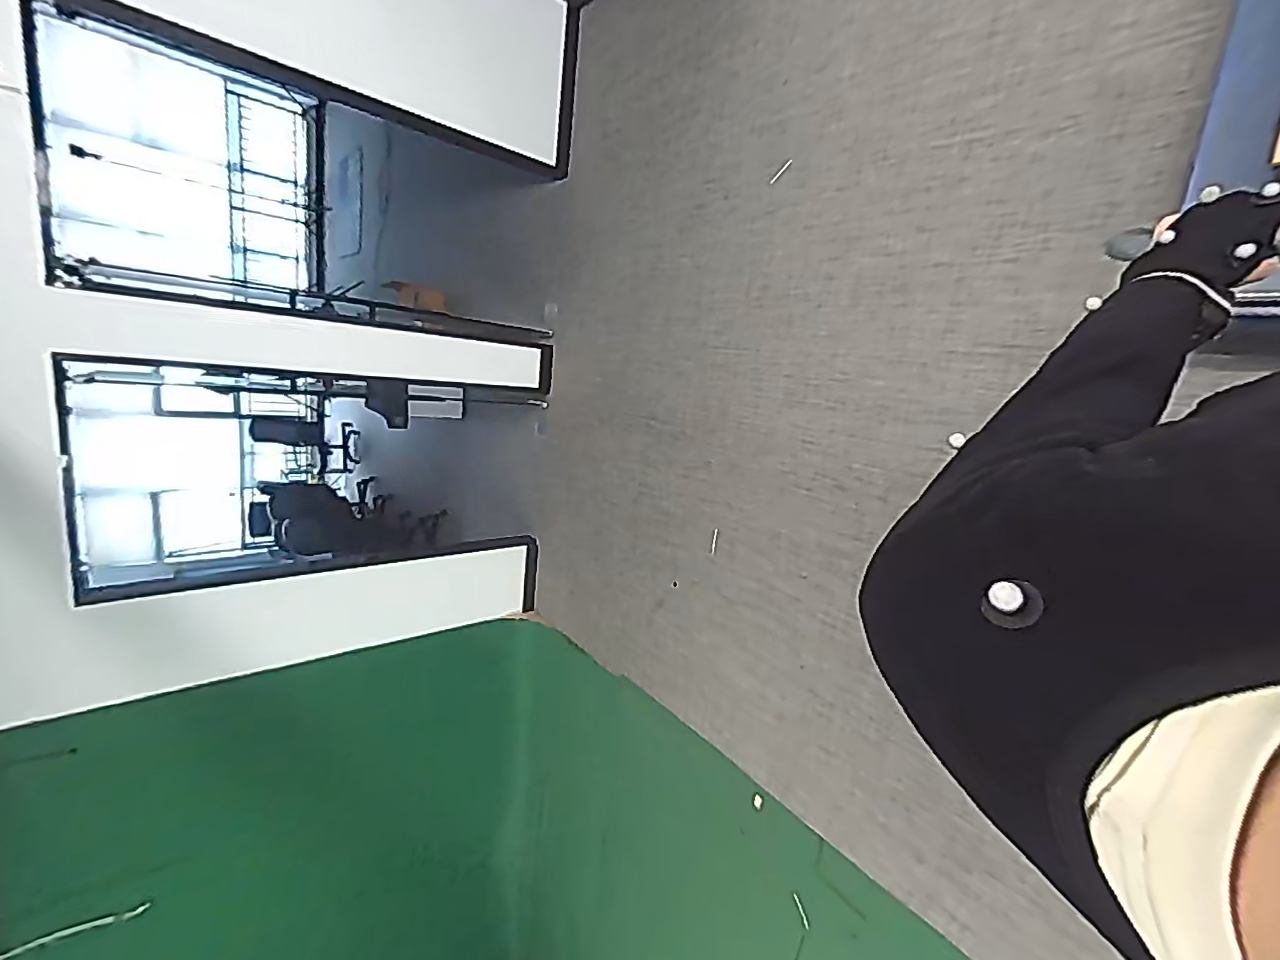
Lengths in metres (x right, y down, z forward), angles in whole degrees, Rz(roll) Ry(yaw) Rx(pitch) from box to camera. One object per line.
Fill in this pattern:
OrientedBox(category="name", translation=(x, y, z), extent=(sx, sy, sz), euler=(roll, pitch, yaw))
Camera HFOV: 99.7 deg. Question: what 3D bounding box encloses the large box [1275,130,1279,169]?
OrientedBox(category="large box", translation=(1.143, -0.627, 0.728), extent=(0.320, 0.320, 0.408), euler=(16, 104, 49))
